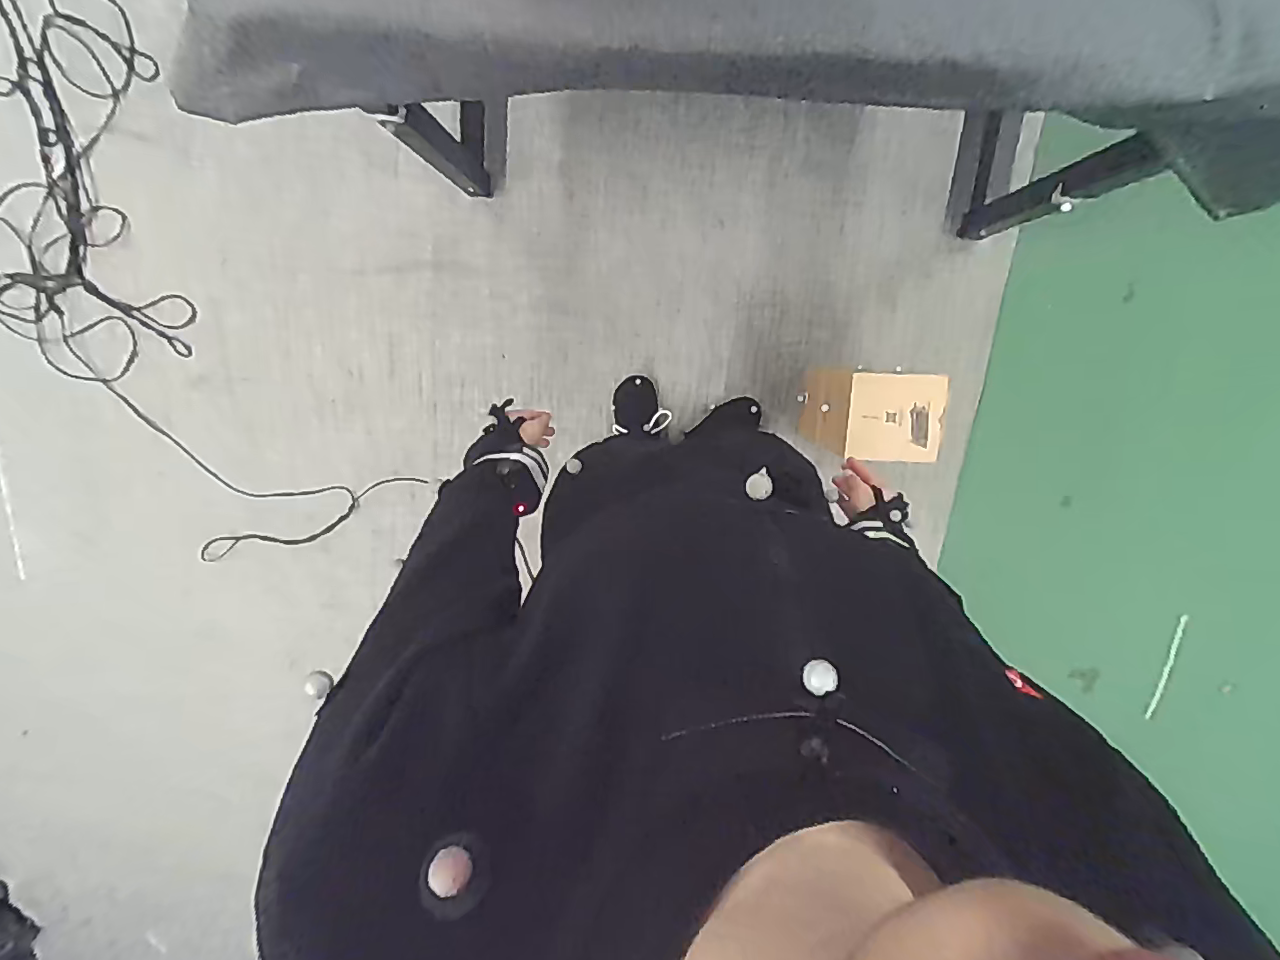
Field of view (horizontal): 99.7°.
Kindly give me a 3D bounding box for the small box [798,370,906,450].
[{"bbox_3d":[0.477,-0.165,1.237,0.179,0.176,0.168,2,102,2],"label":"small box"}]
